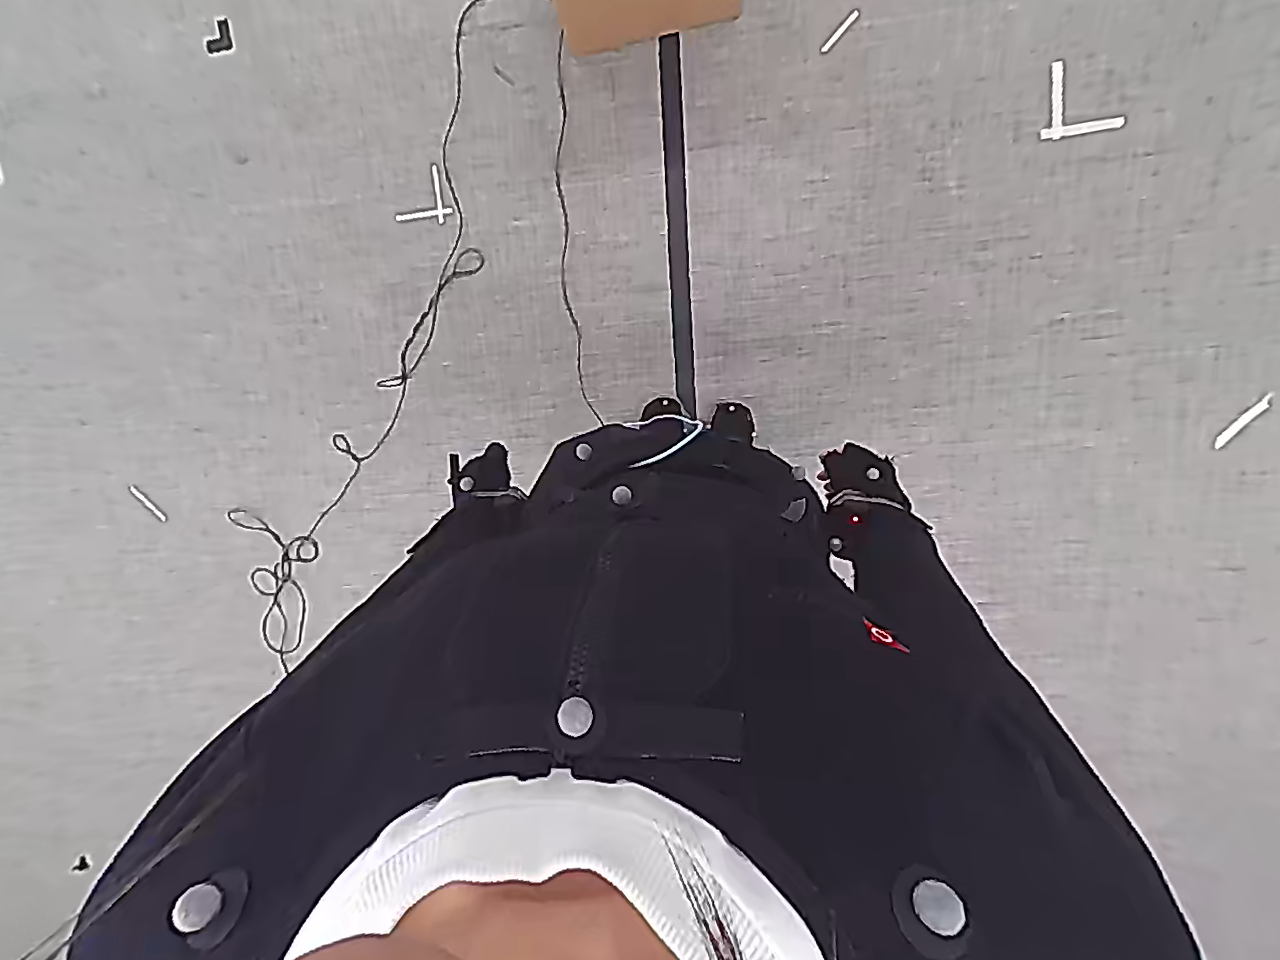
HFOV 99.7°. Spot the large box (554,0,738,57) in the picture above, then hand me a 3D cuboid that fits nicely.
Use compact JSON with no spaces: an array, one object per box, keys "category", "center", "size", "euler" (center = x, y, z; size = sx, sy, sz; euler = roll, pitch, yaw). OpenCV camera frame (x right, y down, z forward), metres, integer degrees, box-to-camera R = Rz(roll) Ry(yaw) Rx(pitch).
[{"category":"large box","center":[-0.009,-1.161,1.103],"size":[0.408,0.320,0.320],"euler":[-10,100,6]}]
